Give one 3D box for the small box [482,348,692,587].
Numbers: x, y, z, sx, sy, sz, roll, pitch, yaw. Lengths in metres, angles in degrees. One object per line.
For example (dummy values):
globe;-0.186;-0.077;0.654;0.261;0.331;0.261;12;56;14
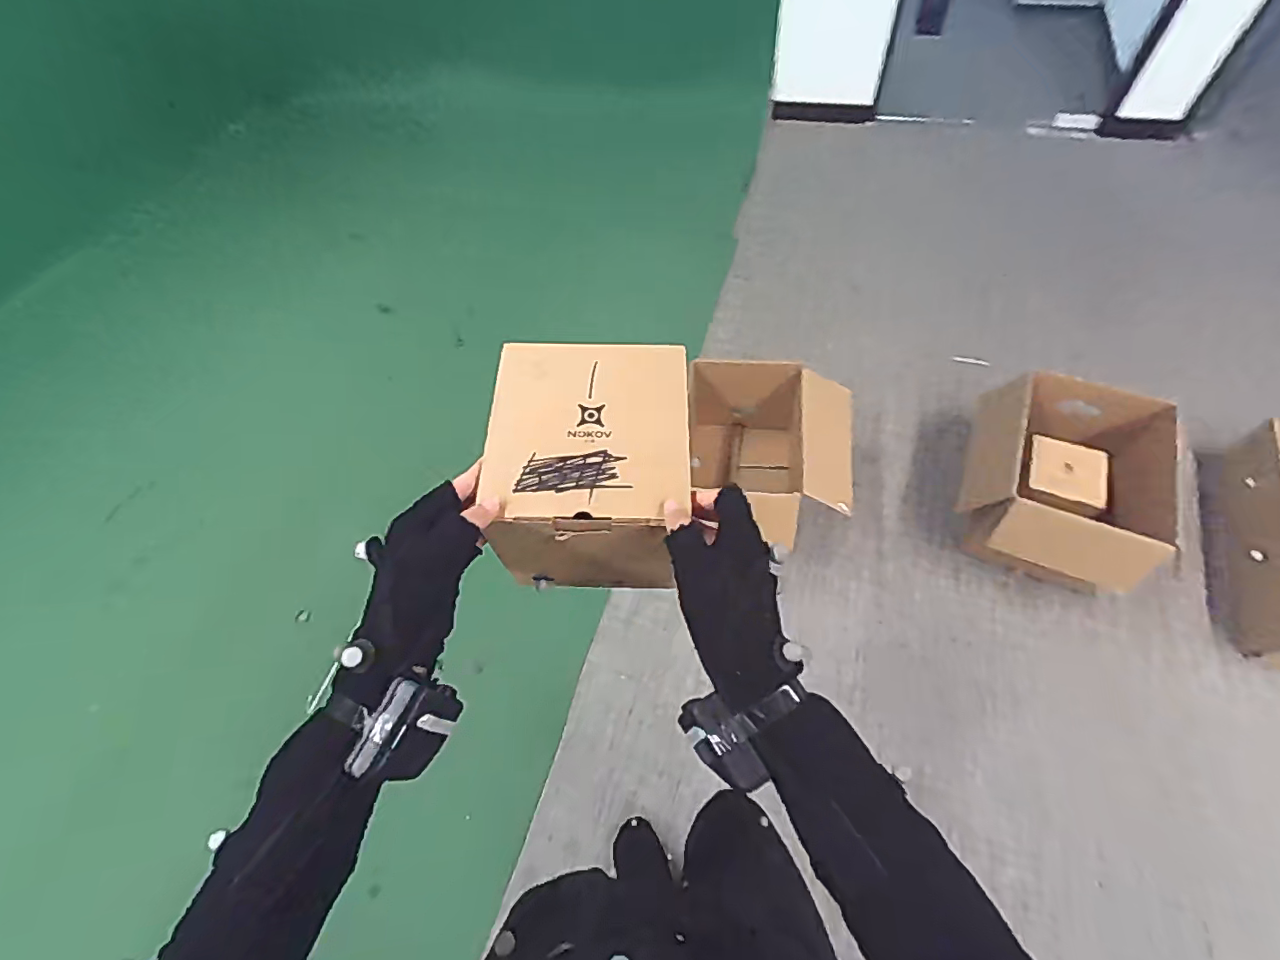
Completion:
small box;-0.037;-0.004;0.522;0.168;0.176;0.179;2;60;1
